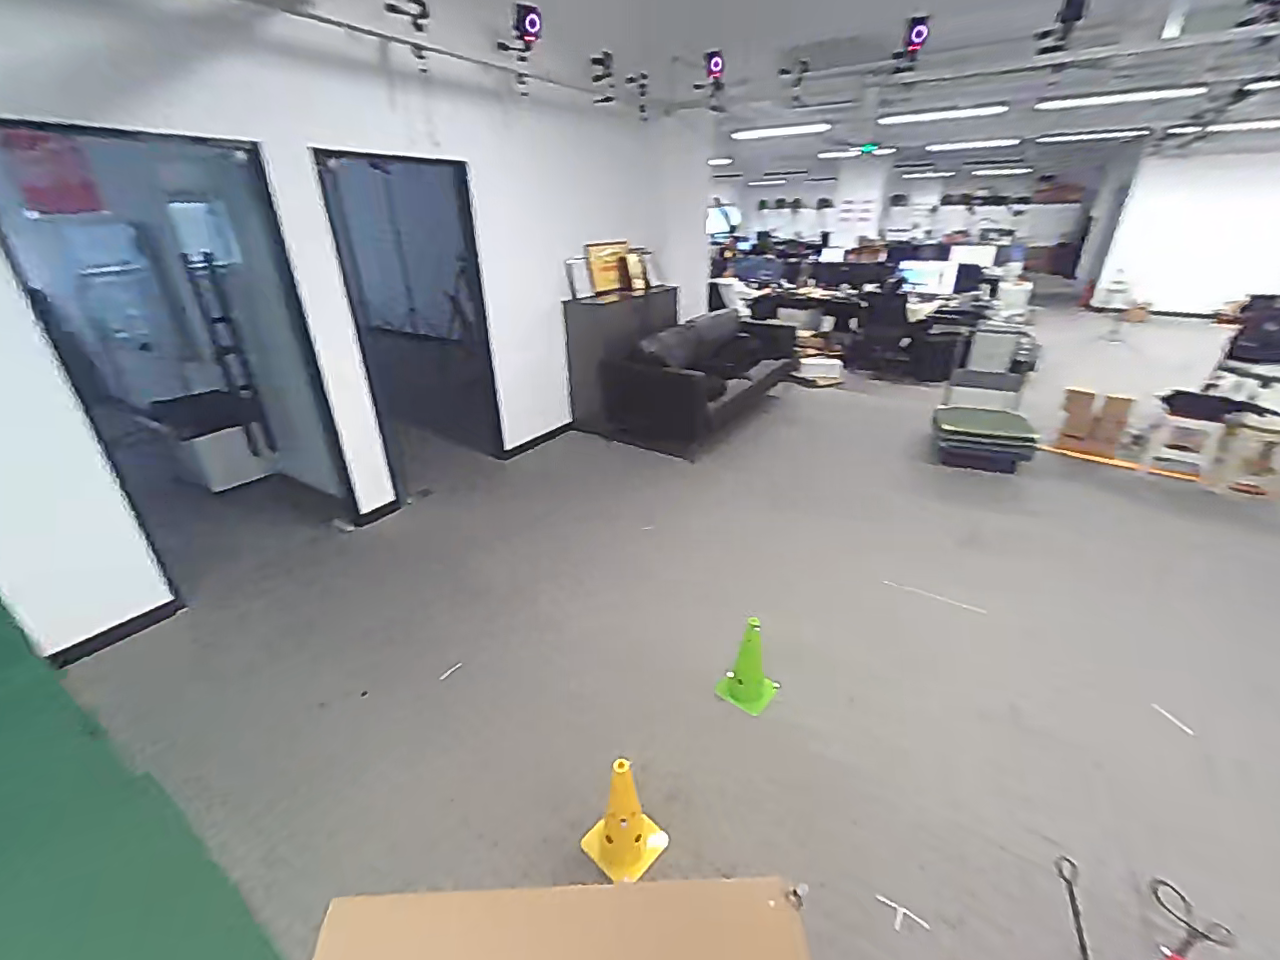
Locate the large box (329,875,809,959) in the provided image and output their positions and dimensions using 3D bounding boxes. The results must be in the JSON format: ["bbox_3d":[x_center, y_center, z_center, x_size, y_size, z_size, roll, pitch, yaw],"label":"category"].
[{"bbox_3d":[-0.062,0.576,0.470,0.408,0.320,0.320,2,43,-5],"label":"large box"}]

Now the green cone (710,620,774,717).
[{"bbox_3d":[0.402,0.688,2.084,0.200,0.368,0.202,19,33,36],"label":"green cone"}]
